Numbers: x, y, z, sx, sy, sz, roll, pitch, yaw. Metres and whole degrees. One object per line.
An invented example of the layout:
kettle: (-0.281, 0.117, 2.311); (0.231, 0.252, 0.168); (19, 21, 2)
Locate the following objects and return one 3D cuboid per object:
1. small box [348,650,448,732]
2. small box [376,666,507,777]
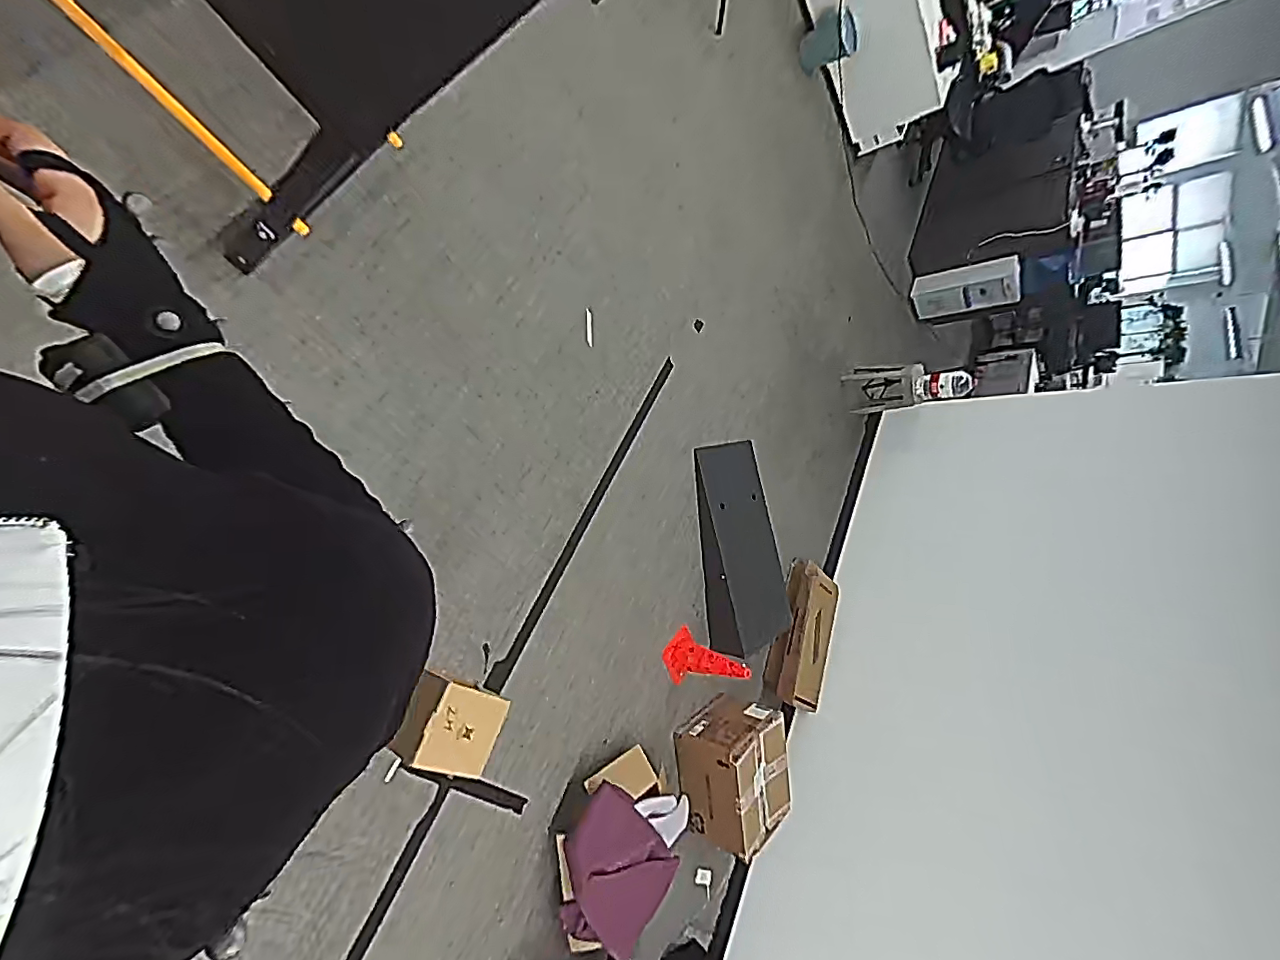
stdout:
small box: (-0.556, 0.522, 1.294); (0.179, 0.176, 0.168); (46, 58, -37)
small box: (-0.433, 0.522, 1.182); (0.179, 0.176, 0.168); (41, 60, -40)
